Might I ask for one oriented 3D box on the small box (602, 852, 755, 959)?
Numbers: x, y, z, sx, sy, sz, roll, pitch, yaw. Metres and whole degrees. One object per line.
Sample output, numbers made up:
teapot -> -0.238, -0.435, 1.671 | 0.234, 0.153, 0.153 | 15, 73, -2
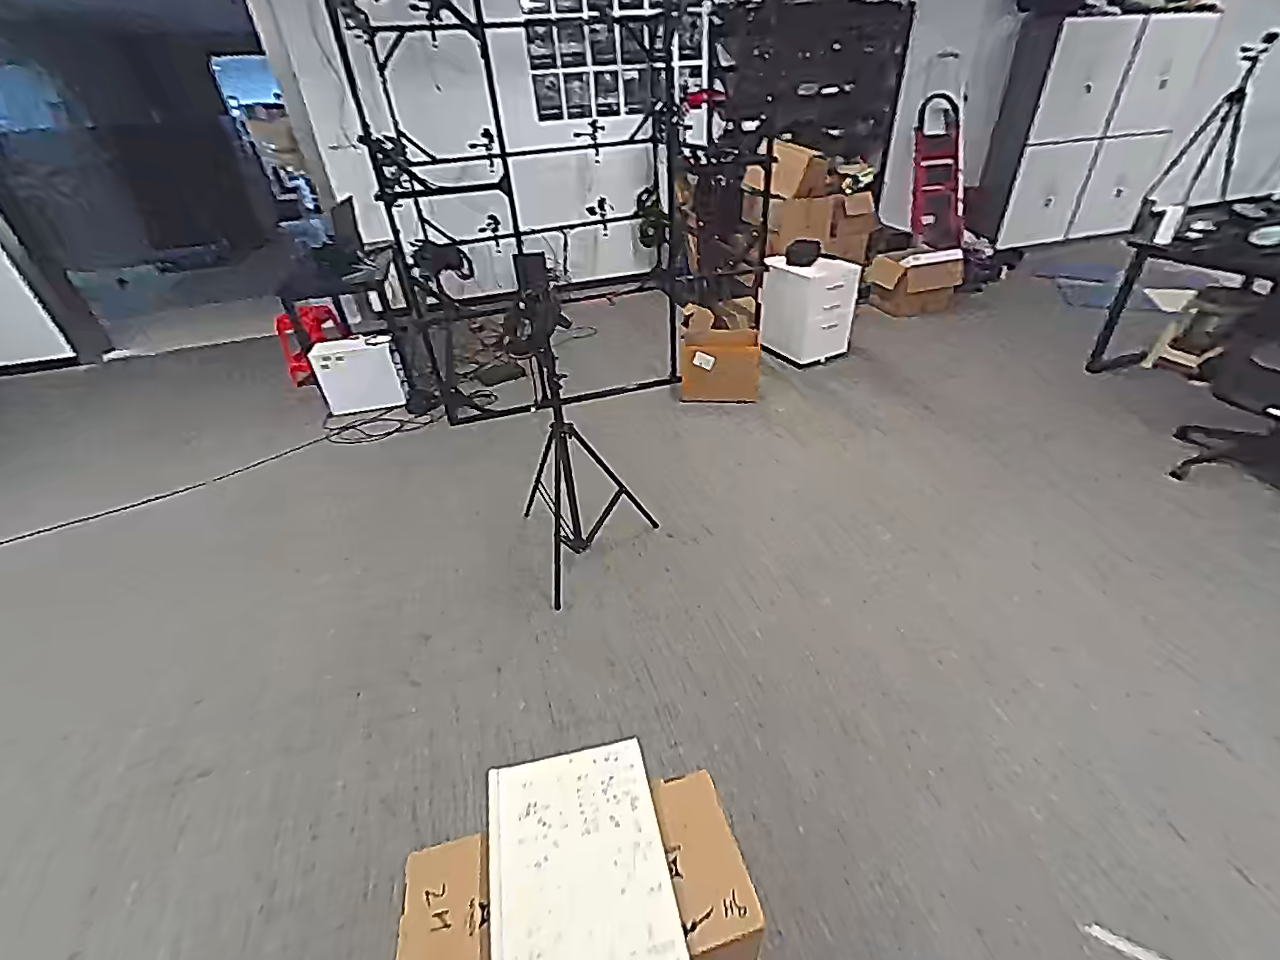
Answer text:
small box -> 0.054, 0.671, 0.760 | 0.179, 0.176, 0.168 | -13, 37, -13
